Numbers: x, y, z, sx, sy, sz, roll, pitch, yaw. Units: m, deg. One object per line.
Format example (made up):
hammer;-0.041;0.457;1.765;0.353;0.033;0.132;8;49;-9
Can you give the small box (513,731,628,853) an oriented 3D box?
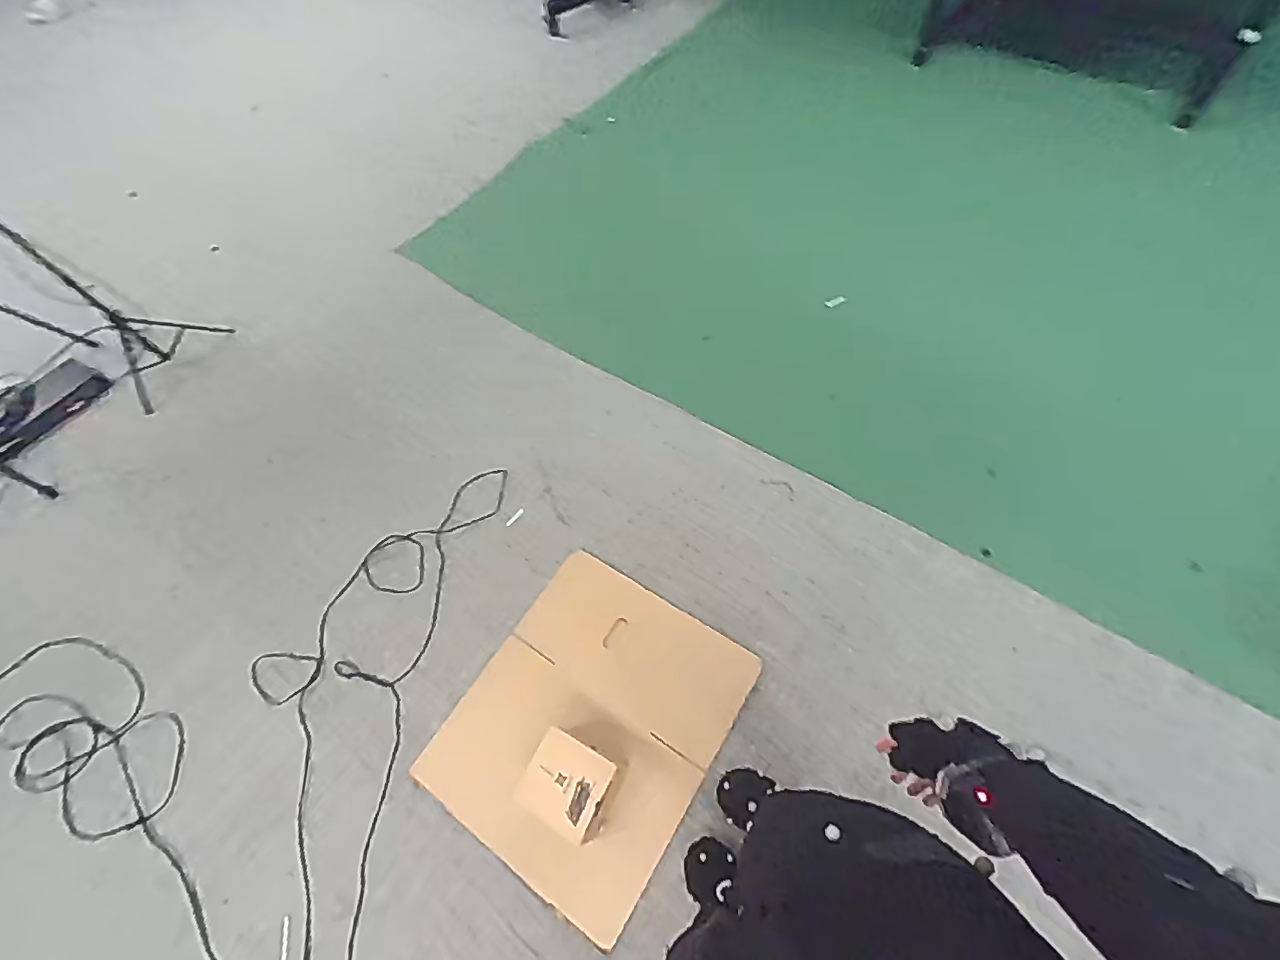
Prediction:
small box;-0.143;0.680;1.191;0.179;0.176;0.168;22;66;20
